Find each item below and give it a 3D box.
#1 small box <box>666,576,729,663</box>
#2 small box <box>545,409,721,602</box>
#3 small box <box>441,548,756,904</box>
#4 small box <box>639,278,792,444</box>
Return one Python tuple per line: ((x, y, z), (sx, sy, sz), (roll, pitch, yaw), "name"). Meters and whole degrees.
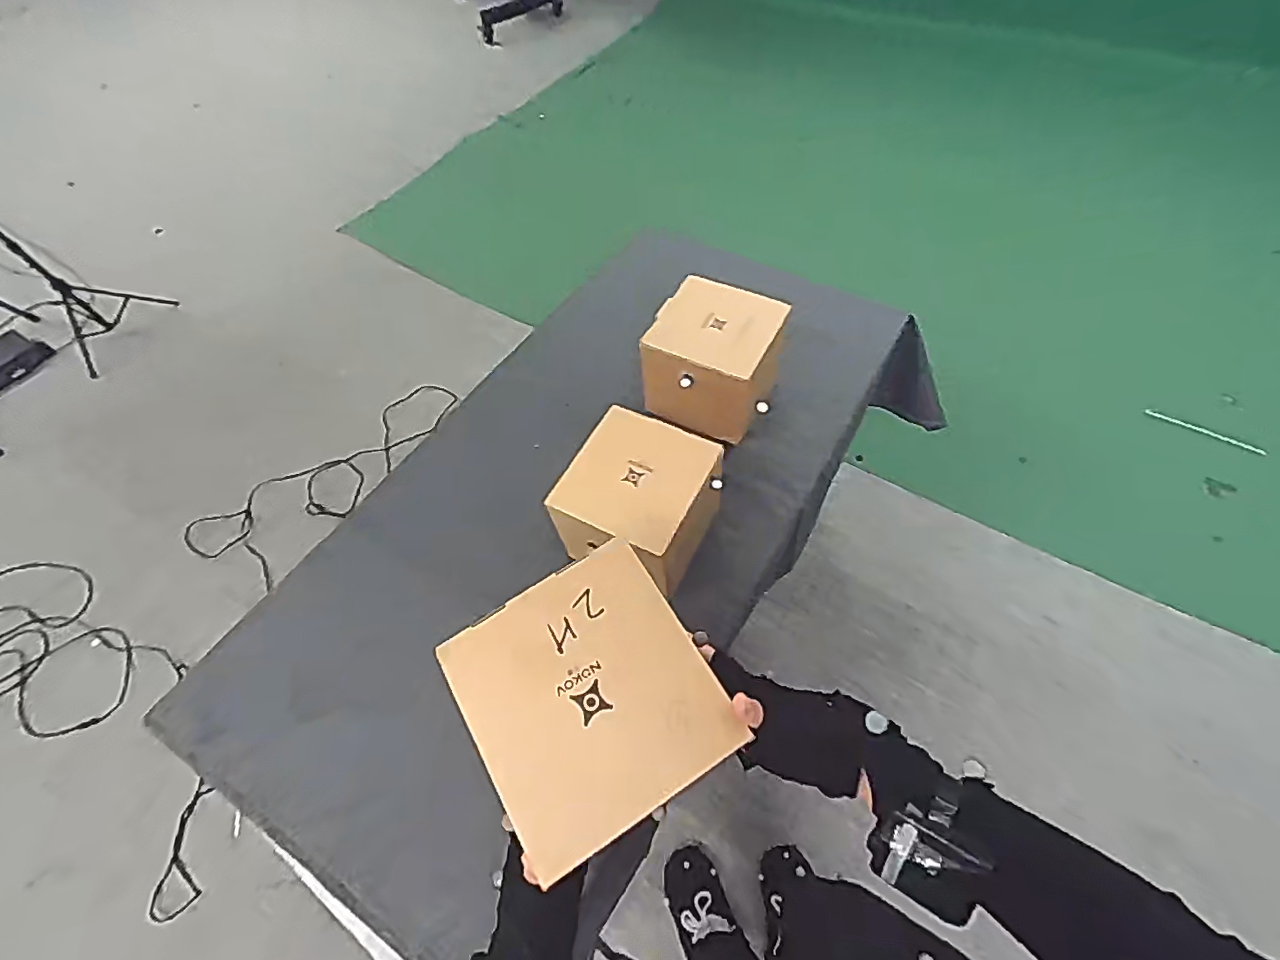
((0.111, 0.366, 1.379), (0.168, 0.176, 0.179), (26, 65, 19), "small box")
((0.000, 0.041, 0.736), (0.168, 0.176, 0.179), (23, 63, 18), "small box")
((-0.028, 0.188, 0.448), (0.168, 0.176, 0.179), (-30, 67, -9), "small box")
((0.118, -0.184, 0.861), (0.179, 0.176, 0.168), (25, 65, 18), "small box")
